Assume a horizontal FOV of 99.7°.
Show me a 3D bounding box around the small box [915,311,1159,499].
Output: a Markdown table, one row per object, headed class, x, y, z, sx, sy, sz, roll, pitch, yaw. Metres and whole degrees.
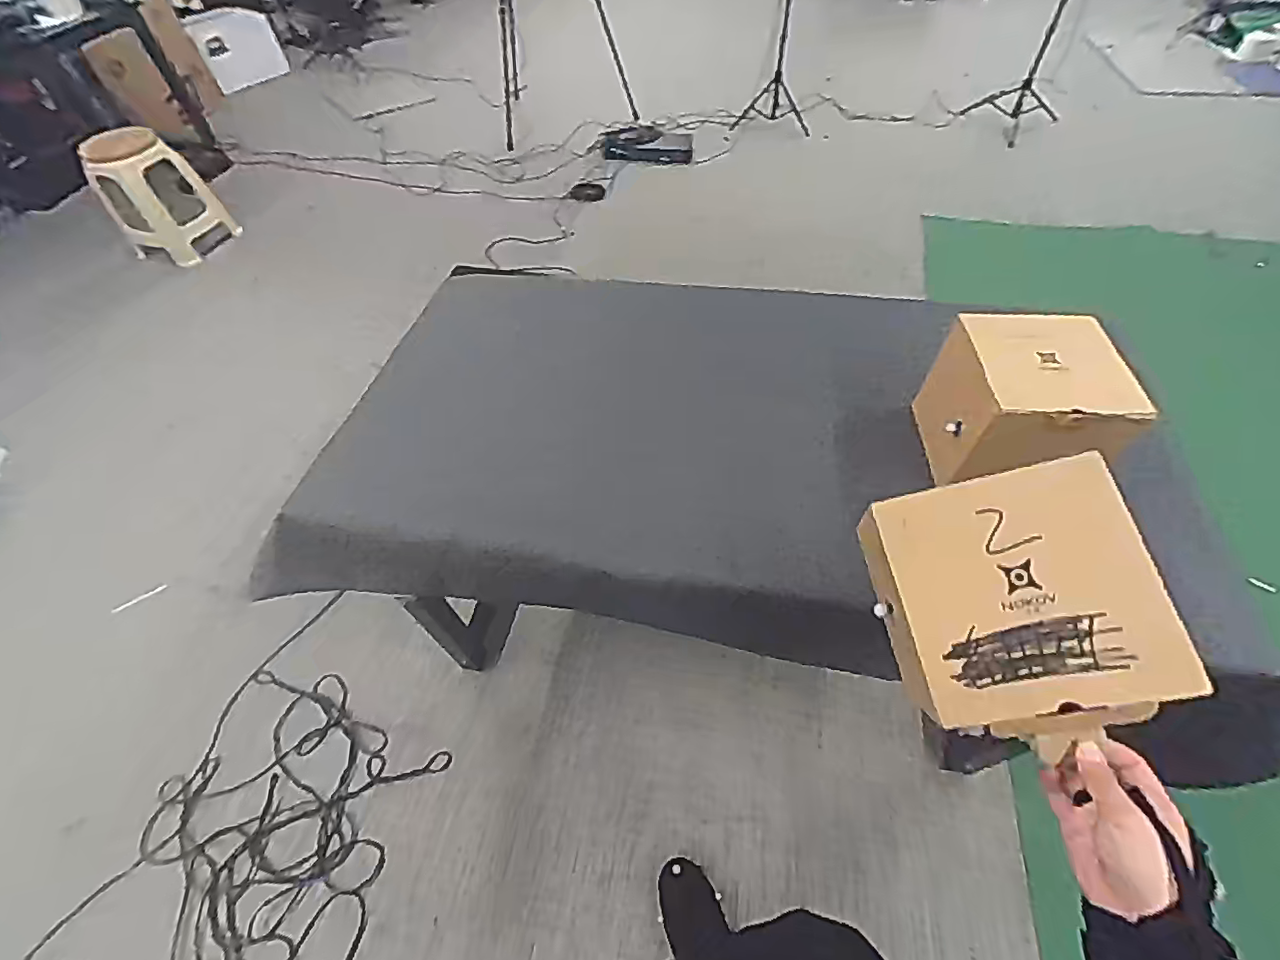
| class | x | y | z | sx | sy | sz | roll | pitch | yaw |
| --- | --- | --- | --- | --- | --- | --- | --- | --- | --- |
| small box | 0.480 | -0.092 | 0.692 | 0.168 | 0.176 | 0.179 | 3 | 52 | 4 |
